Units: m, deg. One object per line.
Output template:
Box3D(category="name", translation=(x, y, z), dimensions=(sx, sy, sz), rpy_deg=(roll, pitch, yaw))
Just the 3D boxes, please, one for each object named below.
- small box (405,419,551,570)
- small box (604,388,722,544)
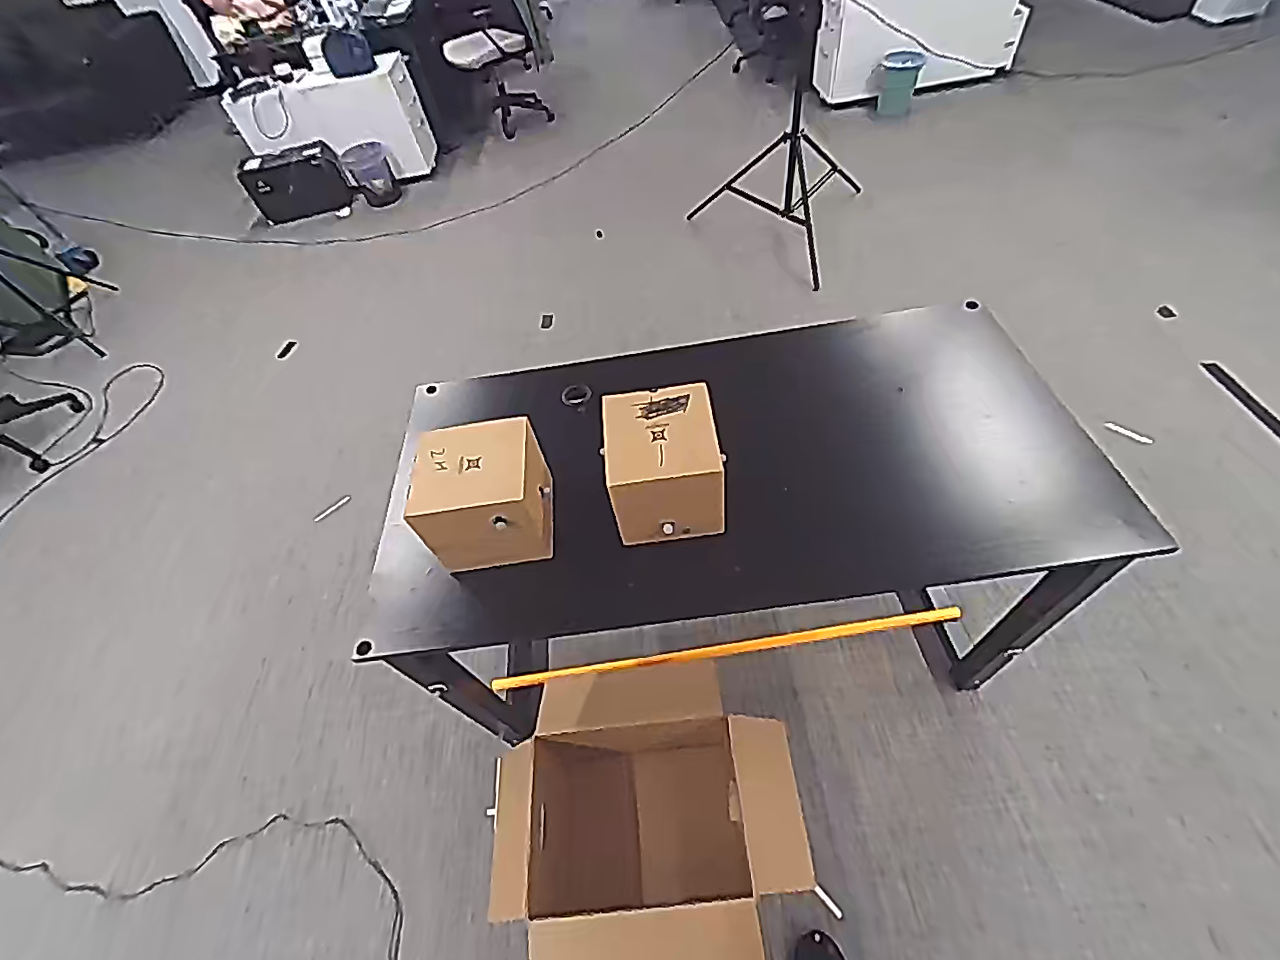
Box3D(category="small box", translation=(-0.245, 0.027, 0.870), dimensions=(0.179, 0.176, 0.168), rpy_deg=(-9, 52, 2))
Box3D(category="small box", translation=(0.036, -0.019, 0.864), dimensions=(0.168, 0.176, 0.179), rpy_deg=(-8, 53, 4))
